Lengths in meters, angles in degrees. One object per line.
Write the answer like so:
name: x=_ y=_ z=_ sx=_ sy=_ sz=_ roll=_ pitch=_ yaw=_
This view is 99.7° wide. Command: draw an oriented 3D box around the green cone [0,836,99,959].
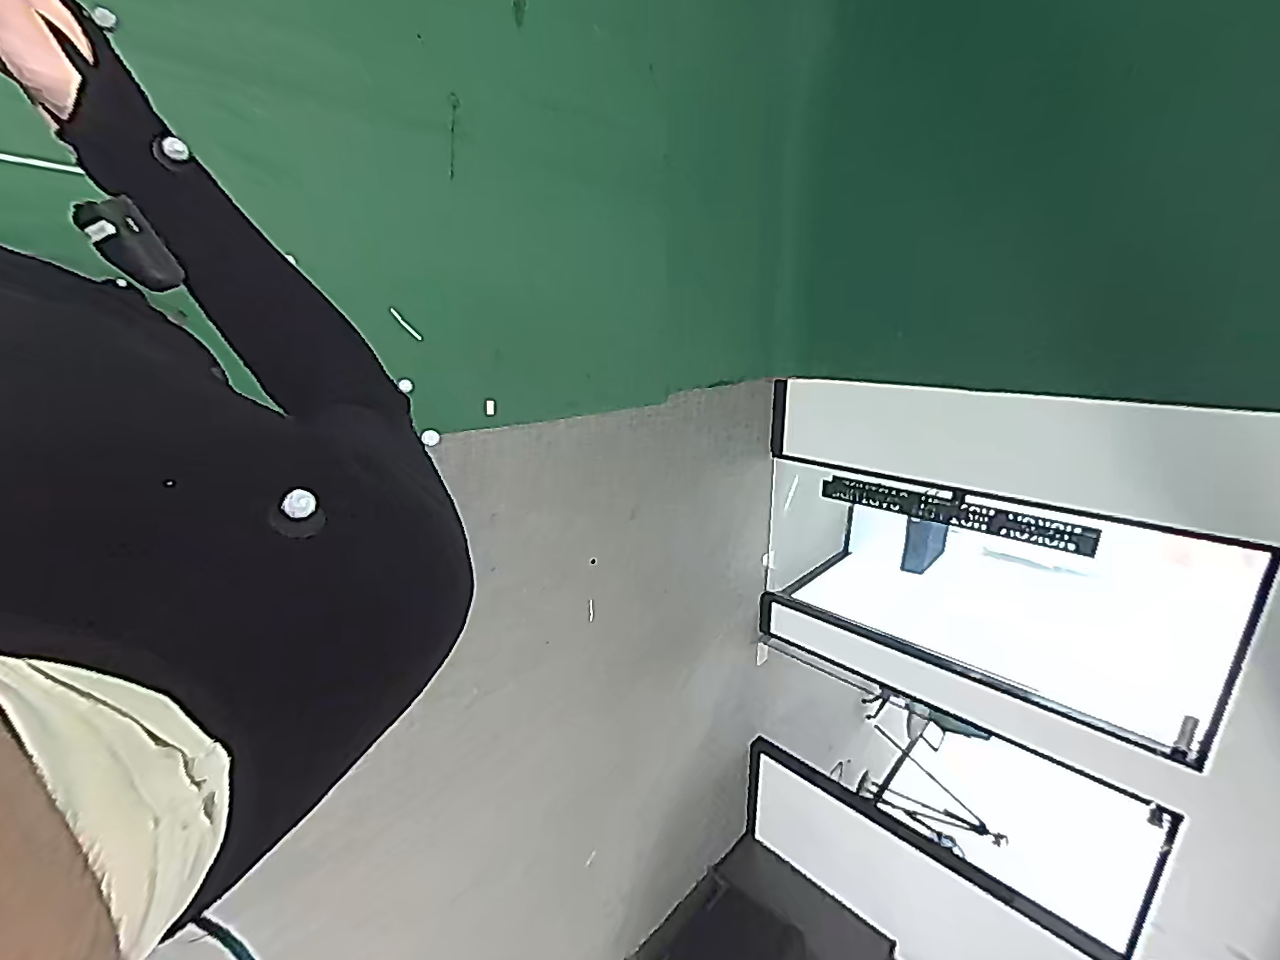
green cone: x=-1.307 y=0.997 z=1.150 sx=0.202 sy=0.368 sz=0.200 roll=-16 pitch=113 yaw=-42
